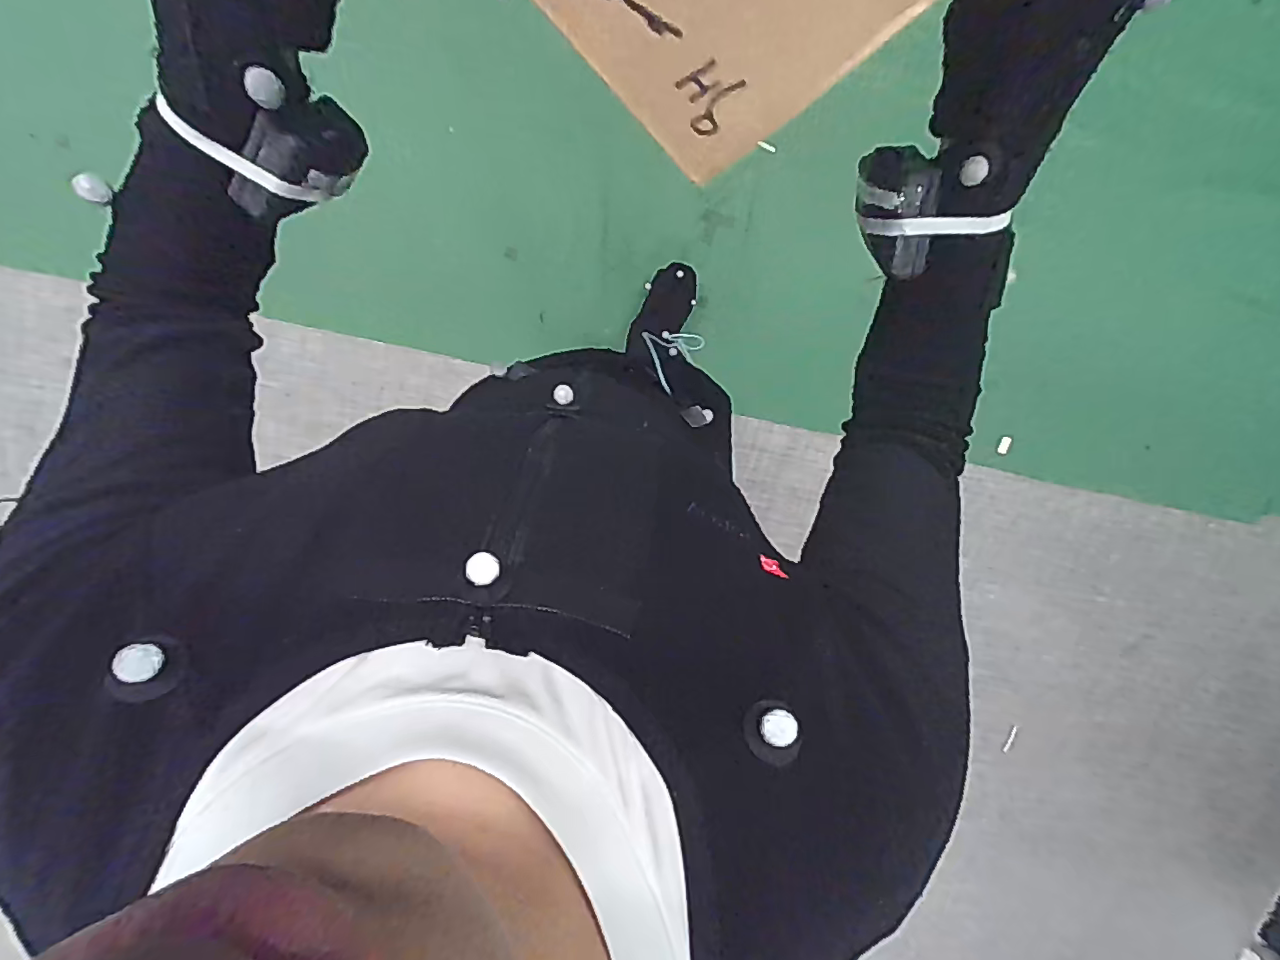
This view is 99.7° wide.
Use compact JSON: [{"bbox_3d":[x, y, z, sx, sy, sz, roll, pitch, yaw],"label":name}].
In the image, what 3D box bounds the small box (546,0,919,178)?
[{"bbox_3d":[0.033,-0.264,0.186,0.179,0.176,0.168,-26,141,34],"label":"small box"}]
